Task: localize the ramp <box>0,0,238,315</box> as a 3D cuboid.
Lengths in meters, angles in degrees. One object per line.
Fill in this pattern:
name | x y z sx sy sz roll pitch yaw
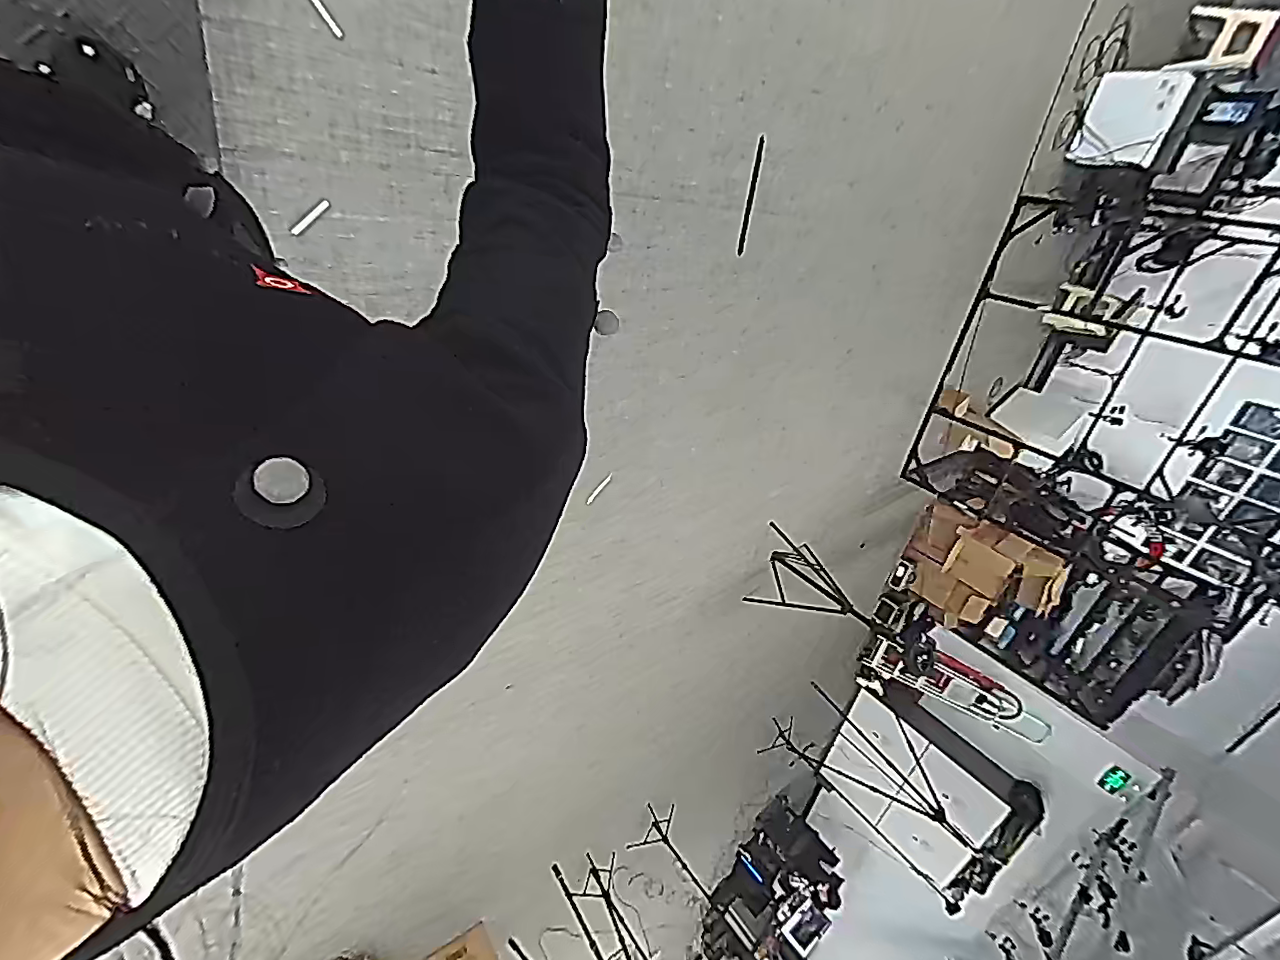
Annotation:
ramp | -0.952 -0.714 0.794 0.509 0.206 0.991 -15 128 -38
